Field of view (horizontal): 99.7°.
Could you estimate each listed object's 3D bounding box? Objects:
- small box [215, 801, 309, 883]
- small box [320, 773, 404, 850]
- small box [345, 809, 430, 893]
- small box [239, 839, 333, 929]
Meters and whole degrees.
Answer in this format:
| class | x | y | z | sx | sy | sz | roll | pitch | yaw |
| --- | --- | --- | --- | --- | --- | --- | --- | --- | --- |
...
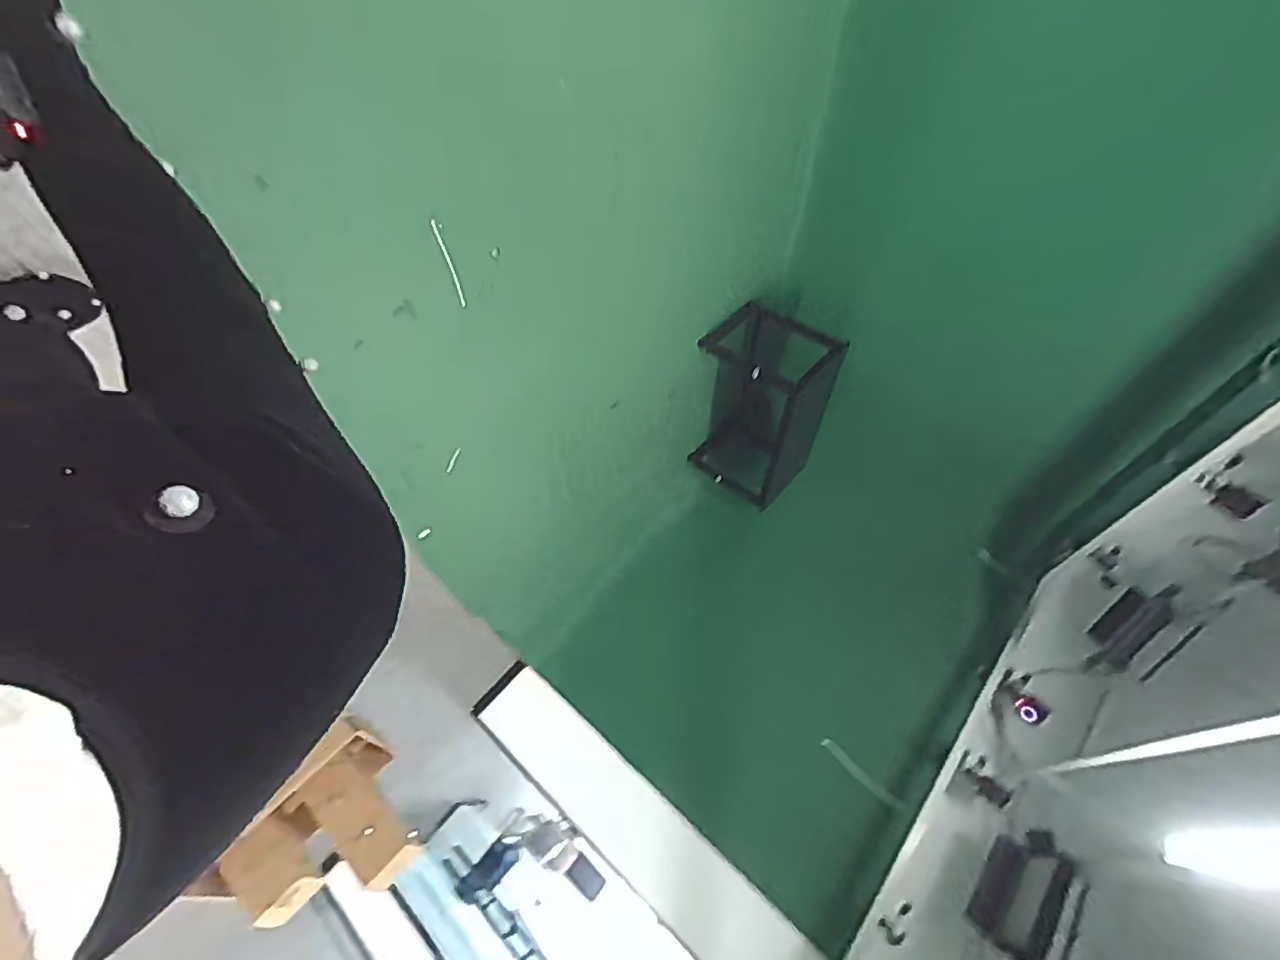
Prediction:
| class | x | y | z | sx | sy | sz | roll | pitch | yaw |
| --- | --- | --- | --- | --- | --- | --- | --- | --- | --- |
| small box | -1.265 | 1.214 | 1.812 | 0.168 | 0.176 | 0.179 | -41 | 151 | -28 |
| small box | -0.965 | 1.155 | 1.880 | 0.168 | 0.176 | 0.179 | -42 | 153 | -27 |
| small box | -0.844 | 1.240 | 1.812 | 0.168 | 0.176 | 0.179 | -42 | 153 | -28 |
| small box | -1.142 | 1.299 | 1.744 | 0.168 | 0.176 | 0.179 | -41 | 152 | -29 |
